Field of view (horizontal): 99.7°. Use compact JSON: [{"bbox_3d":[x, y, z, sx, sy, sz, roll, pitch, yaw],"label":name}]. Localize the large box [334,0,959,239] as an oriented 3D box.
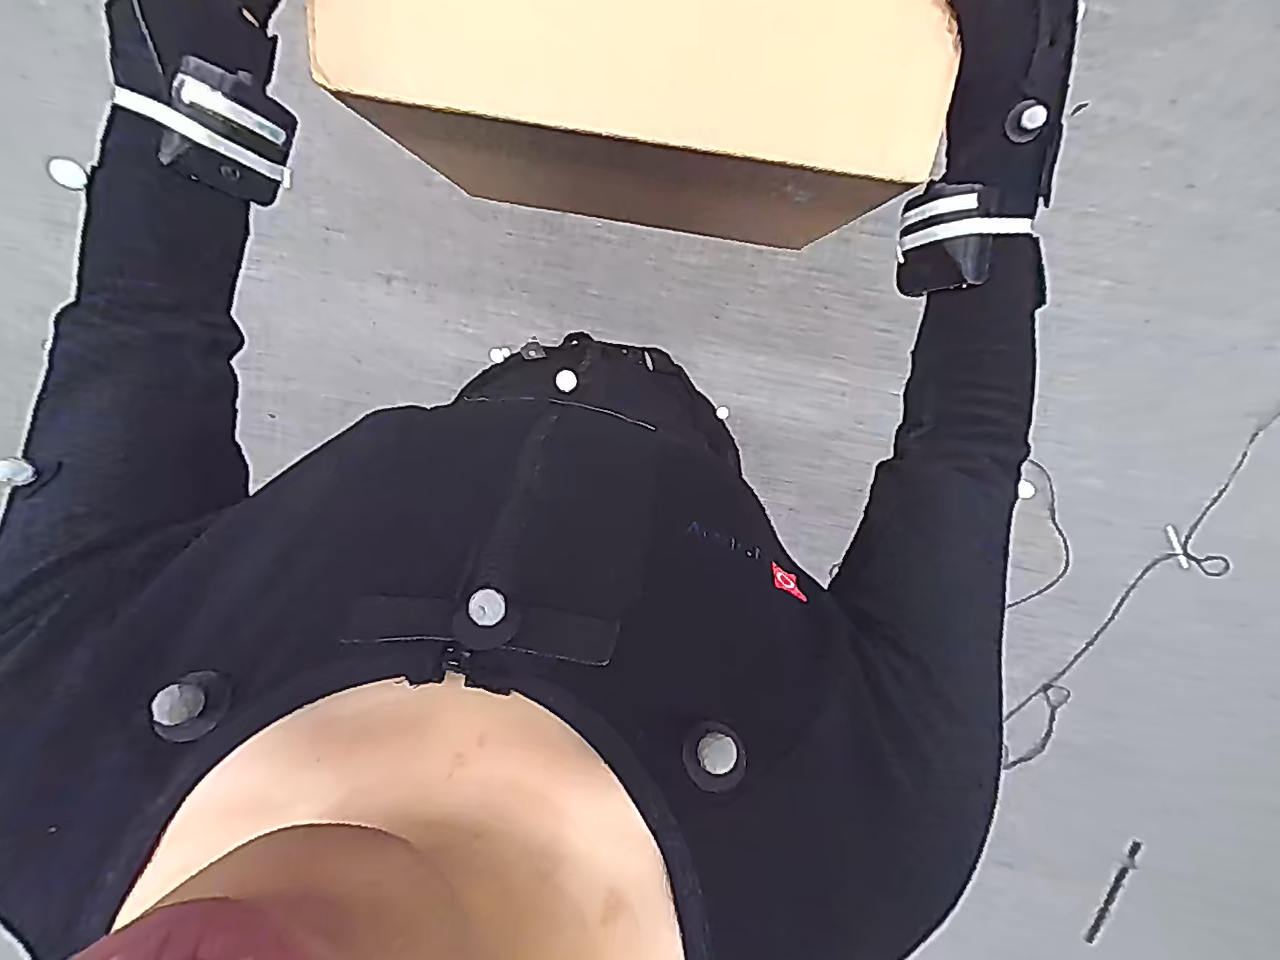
[{"bbox_3d":[0.014,-0.422,0.468,0.408,0.320,0.320,8,106,-2],"label":"large box"}]
